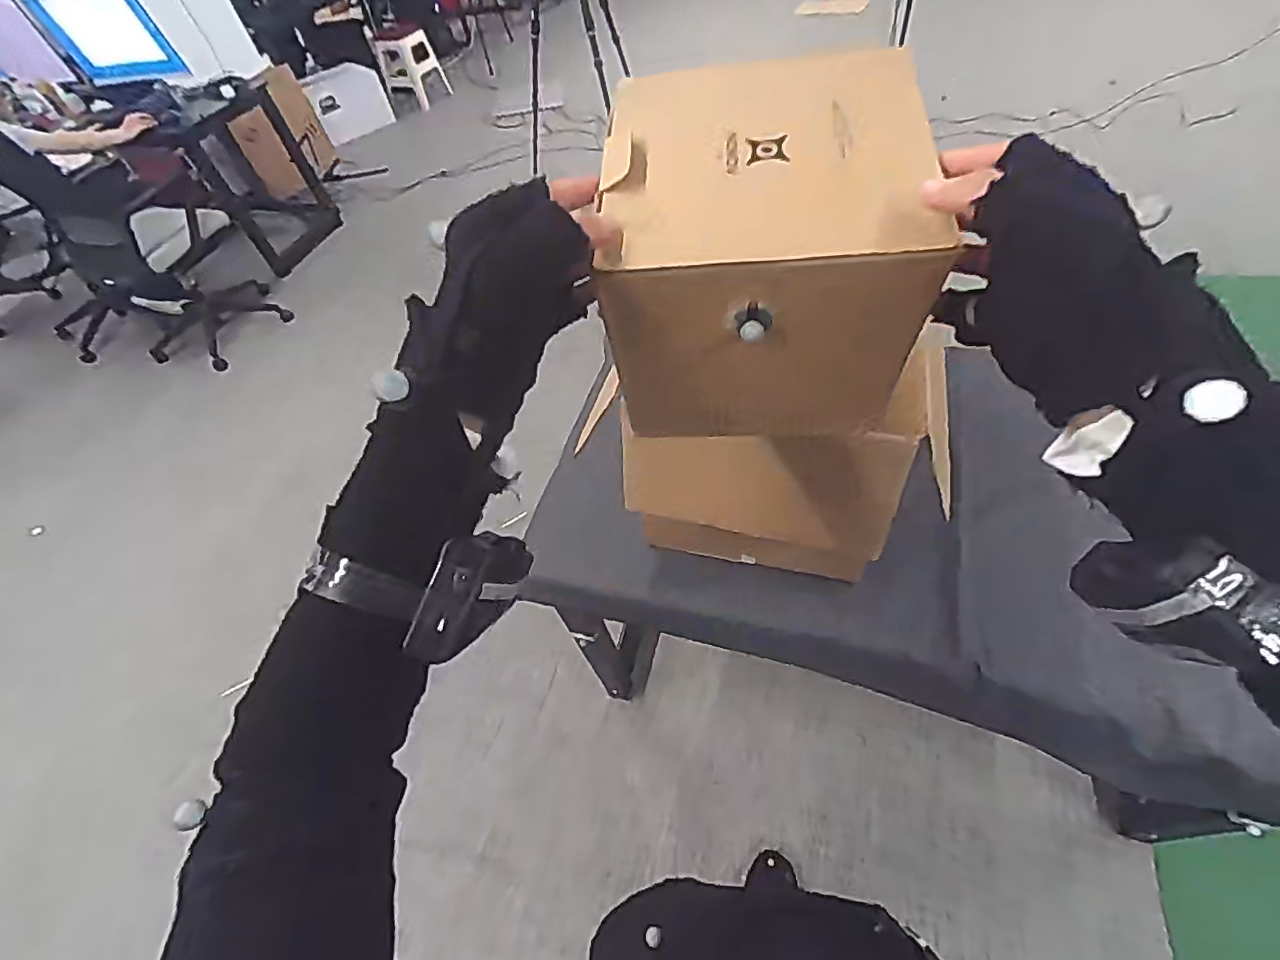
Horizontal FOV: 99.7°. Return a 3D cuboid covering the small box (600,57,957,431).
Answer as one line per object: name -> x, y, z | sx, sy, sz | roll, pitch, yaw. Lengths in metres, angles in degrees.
small box -> 0.080, -0.143, 0.371 | 0.179, 0.176, 0.168 | 0, 65, 7
